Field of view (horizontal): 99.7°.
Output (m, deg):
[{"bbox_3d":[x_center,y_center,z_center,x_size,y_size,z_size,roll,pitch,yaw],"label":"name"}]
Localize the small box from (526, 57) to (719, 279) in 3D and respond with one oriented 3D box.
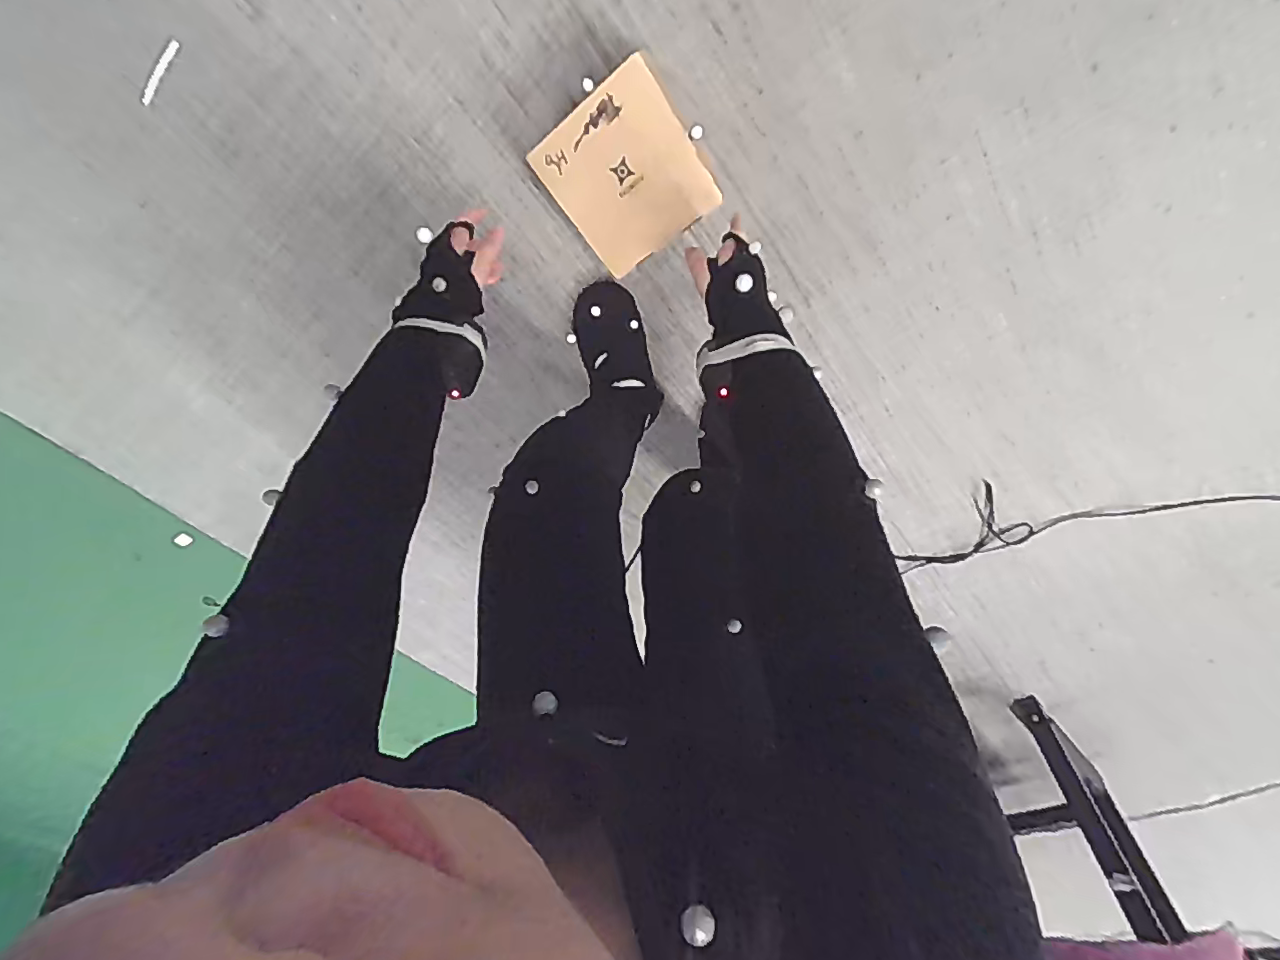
[{"bbox_3d":[-0.013,-0.401,0.692,0.168,0.176,0.179,-28,122,24],"label":"small box"}]
